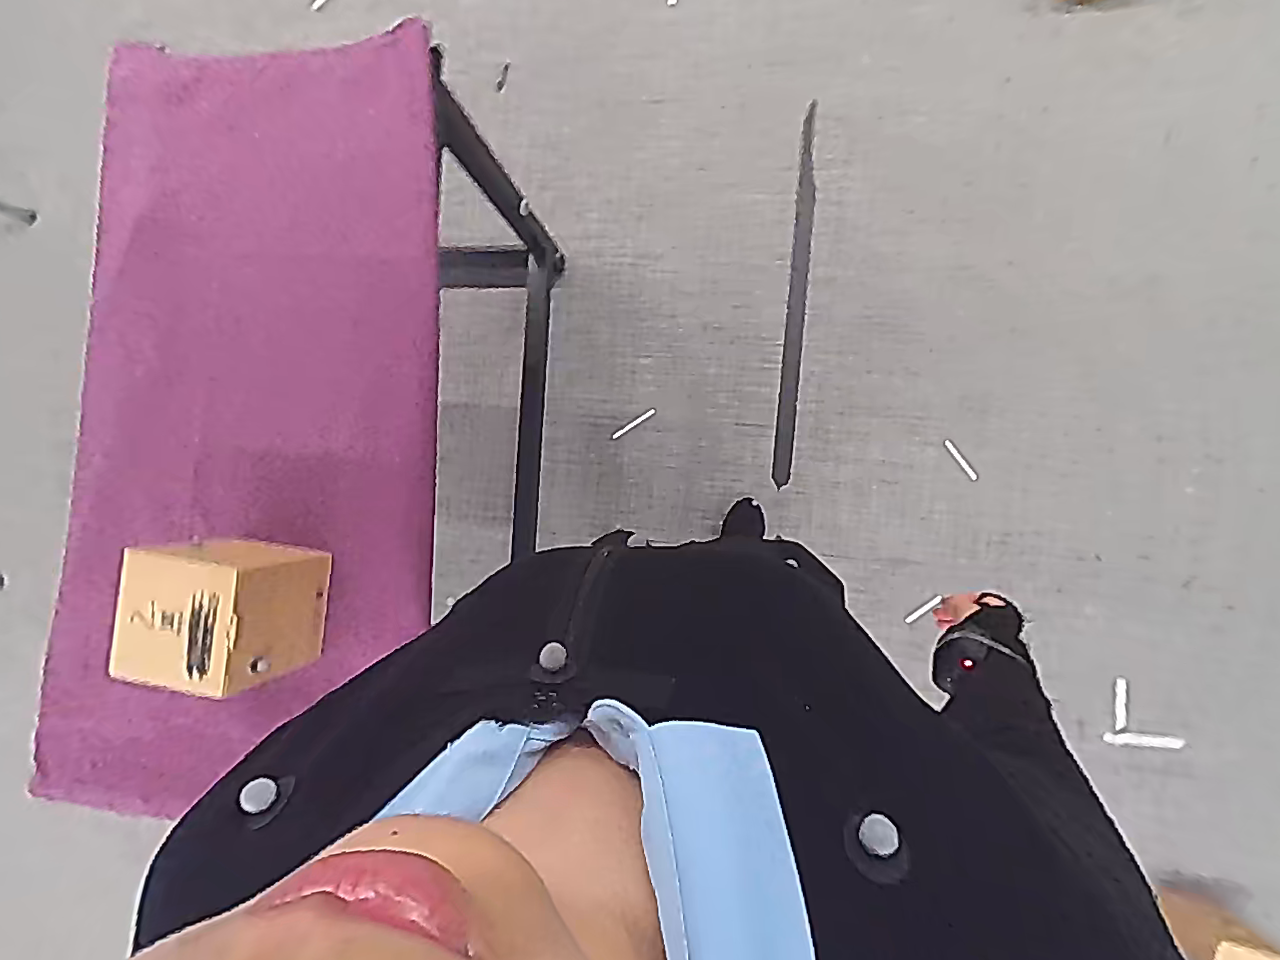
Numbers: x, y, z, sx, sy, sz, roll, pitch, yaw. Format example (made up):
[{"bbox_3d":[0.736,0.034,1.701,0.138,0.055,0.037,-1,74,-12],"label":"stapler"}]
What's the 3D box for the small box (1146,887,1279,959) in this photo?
[{"bbox_3d":[1.298,1.070,1.212,0.168,0.176,0.179,13,91,9],"label":"small box"}]
